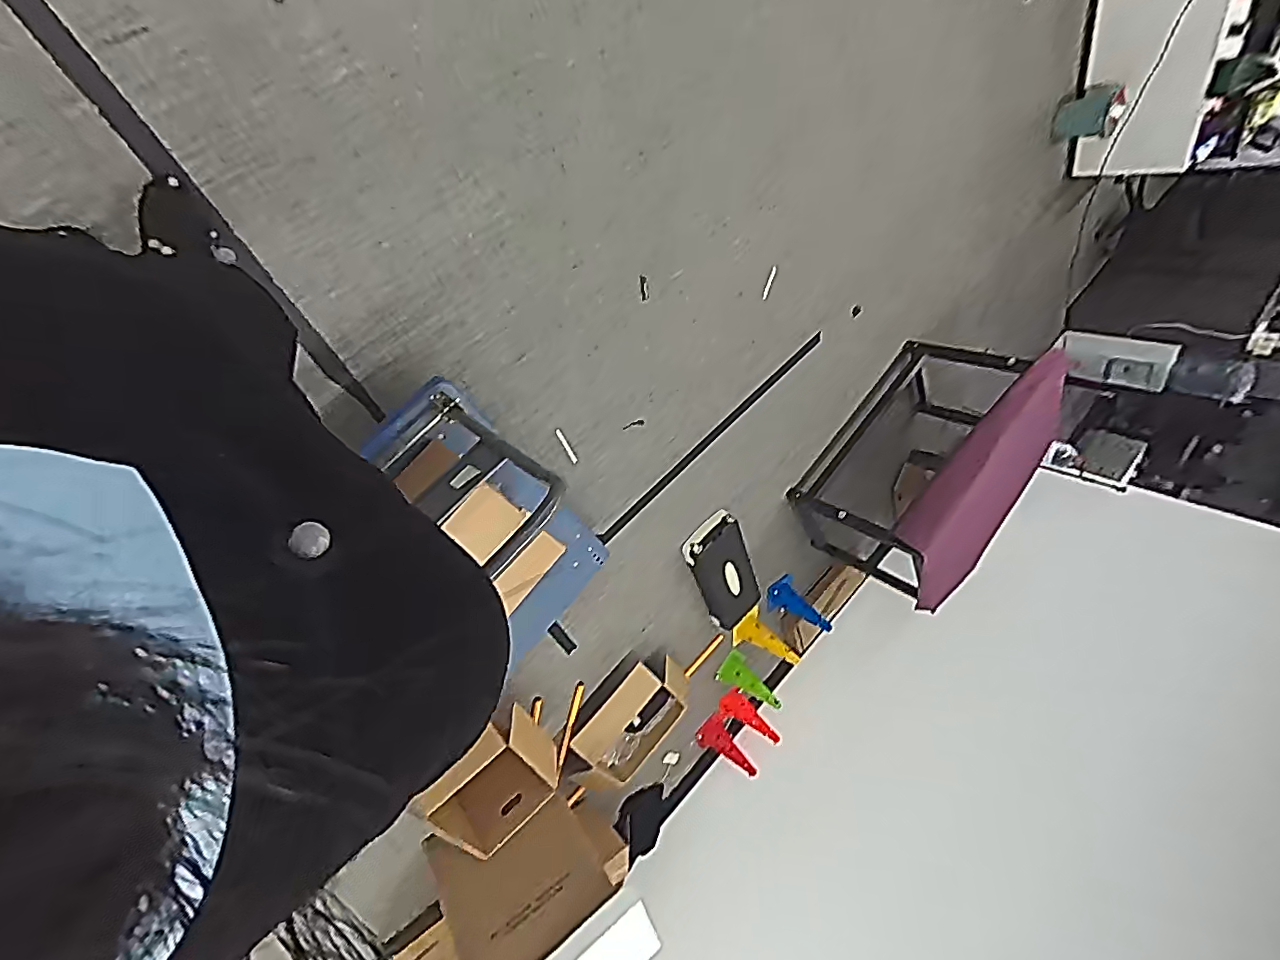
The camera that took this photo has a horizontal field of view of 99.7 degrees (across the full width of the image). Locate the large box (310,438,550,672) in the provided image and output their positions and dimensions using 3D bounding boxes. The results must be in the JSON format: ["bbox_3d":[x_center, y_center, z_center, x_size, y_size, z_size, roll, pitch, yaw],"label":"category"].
[{"bbox_3d":[-0.507,0.173,1.319,0.408,0.320,0.320,-50,134,-9],"label":"large box"}]
